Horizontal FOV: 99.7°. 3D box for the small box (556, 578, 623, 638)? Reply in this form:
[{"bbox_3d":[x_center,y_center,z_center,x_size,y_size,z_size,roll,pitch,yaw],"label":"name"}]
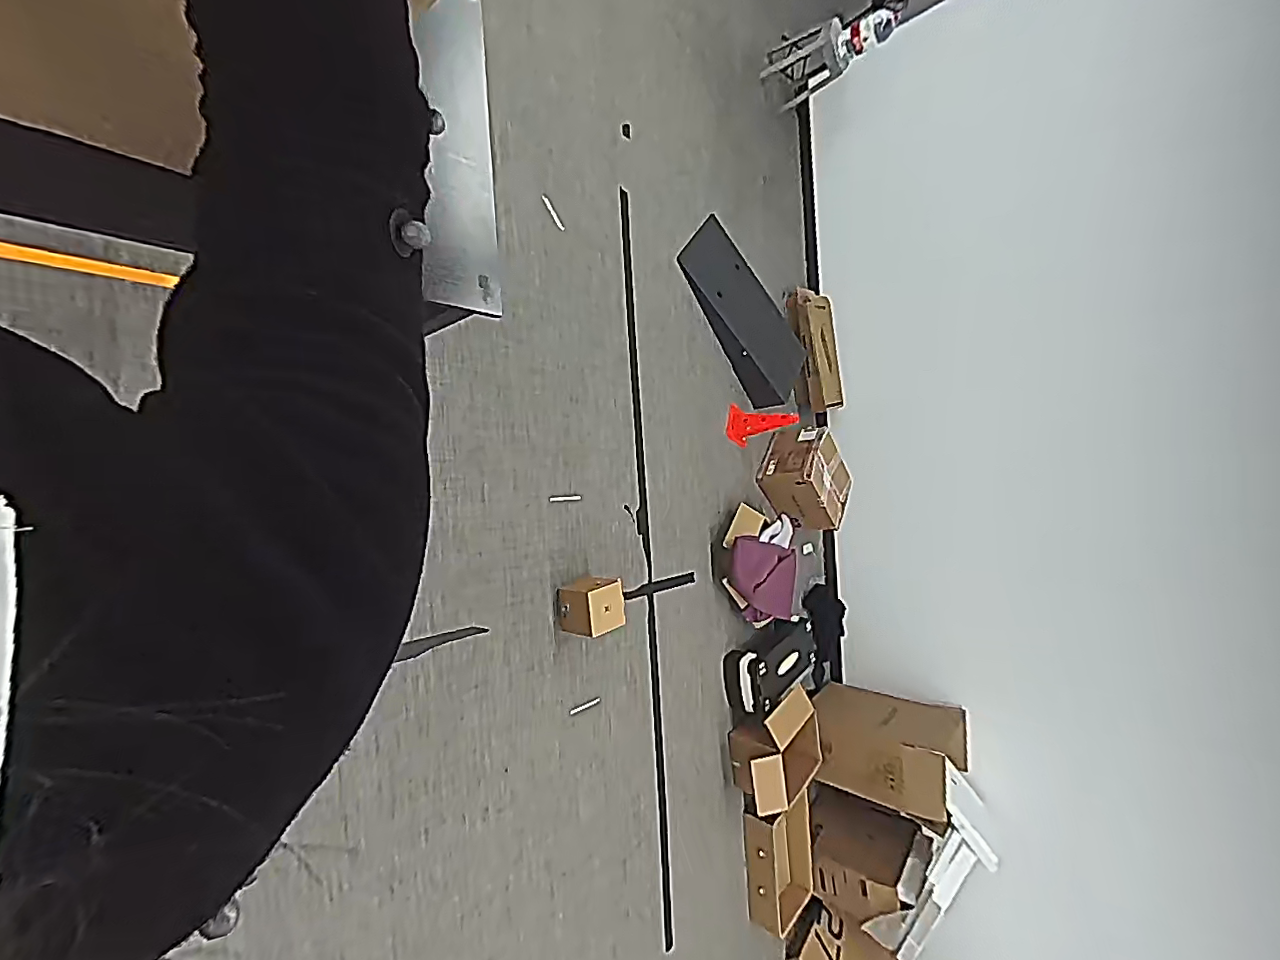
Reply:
[{"bbox_3d":[-0.187,0.466,1.999,0.179,0.176,0.168,-10,94,-48],"label":"small box"}]
